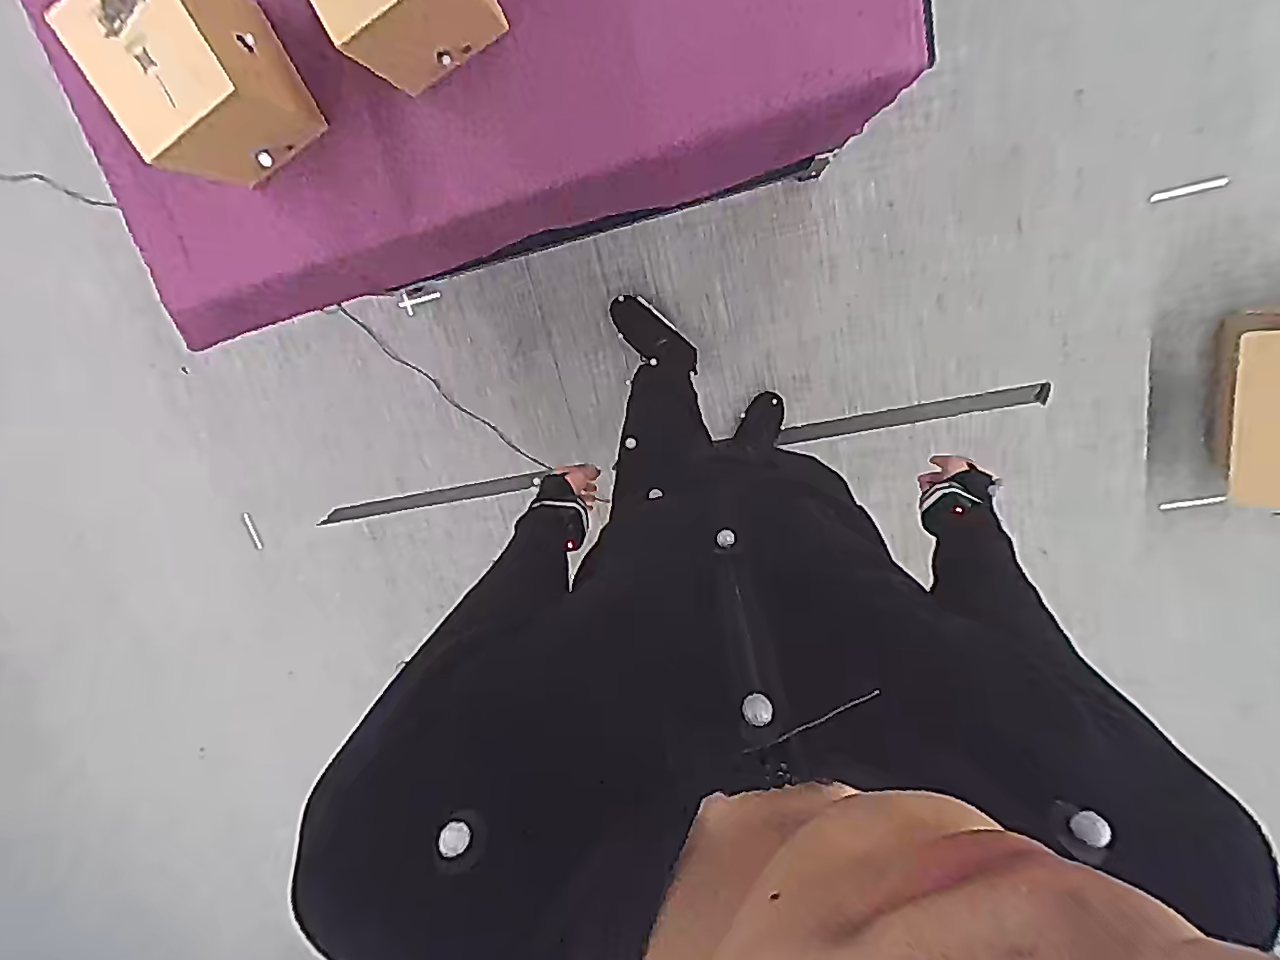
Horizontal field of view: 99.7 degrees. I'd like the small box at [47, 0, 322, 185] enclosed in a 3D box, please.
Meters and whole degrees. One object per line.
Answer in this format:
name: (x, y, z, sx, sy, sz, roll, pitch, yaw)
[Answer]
small box: (-0.572, -0.520, 0.704, 0.168, 0.176, 0.179, -24, 105, 16)
